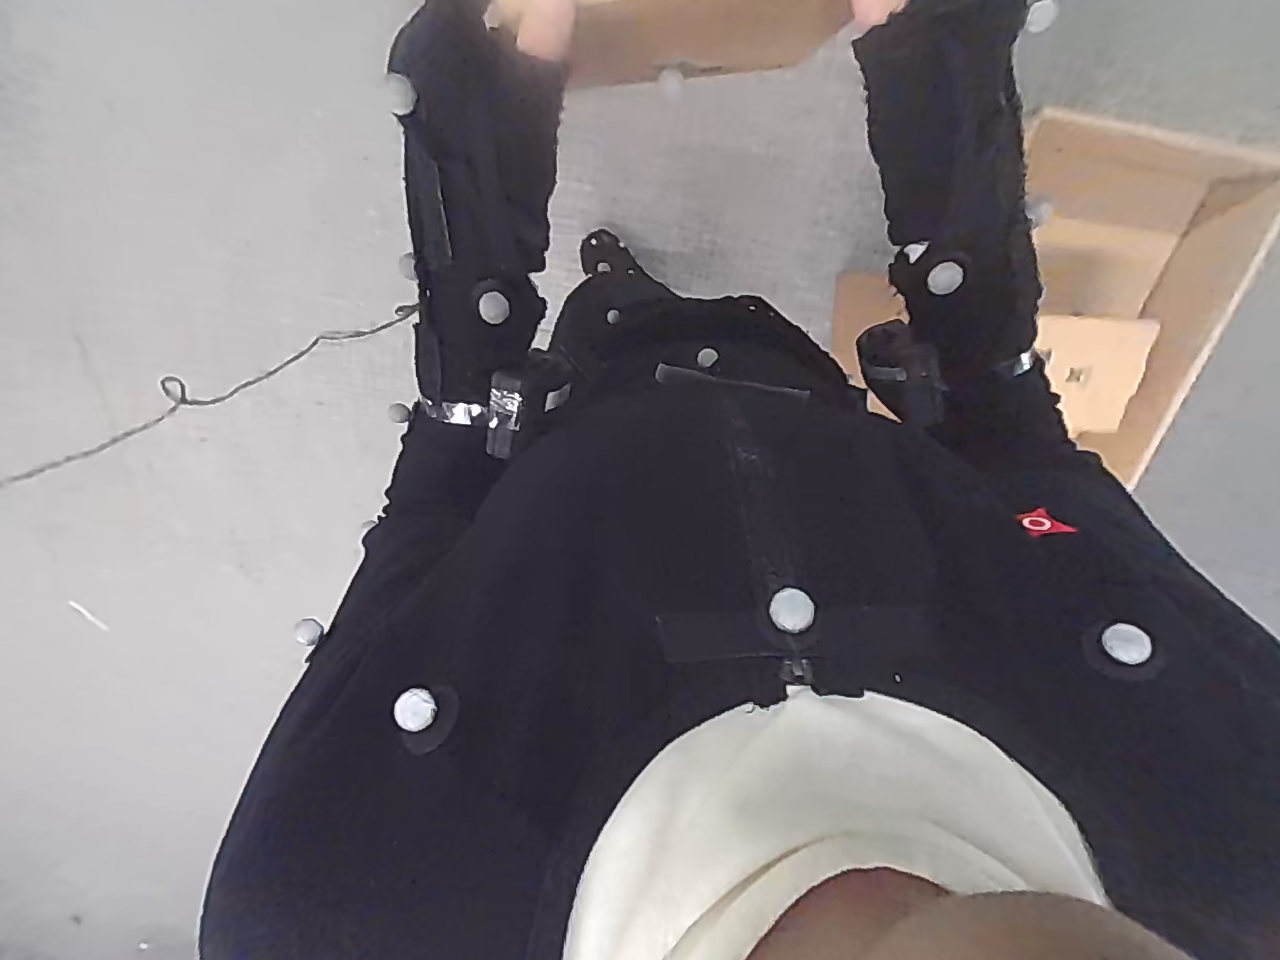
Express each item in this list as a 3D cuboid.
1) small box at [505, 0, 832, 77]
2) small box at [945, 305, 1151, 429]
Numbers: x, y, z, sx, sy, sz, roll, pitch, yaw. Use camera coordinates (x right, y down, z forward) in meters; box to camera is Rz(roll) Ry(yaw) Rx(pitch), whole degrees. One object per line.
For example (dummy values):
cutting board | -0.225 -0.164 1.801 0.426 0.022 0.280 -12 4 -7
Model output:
small box | 0.006 -0.313 0.247 0.168 0.176 0.179 -5 118 1
small box | 0.637 -0.188 0.869 0.179 0.176 0.168 2 112 -2
